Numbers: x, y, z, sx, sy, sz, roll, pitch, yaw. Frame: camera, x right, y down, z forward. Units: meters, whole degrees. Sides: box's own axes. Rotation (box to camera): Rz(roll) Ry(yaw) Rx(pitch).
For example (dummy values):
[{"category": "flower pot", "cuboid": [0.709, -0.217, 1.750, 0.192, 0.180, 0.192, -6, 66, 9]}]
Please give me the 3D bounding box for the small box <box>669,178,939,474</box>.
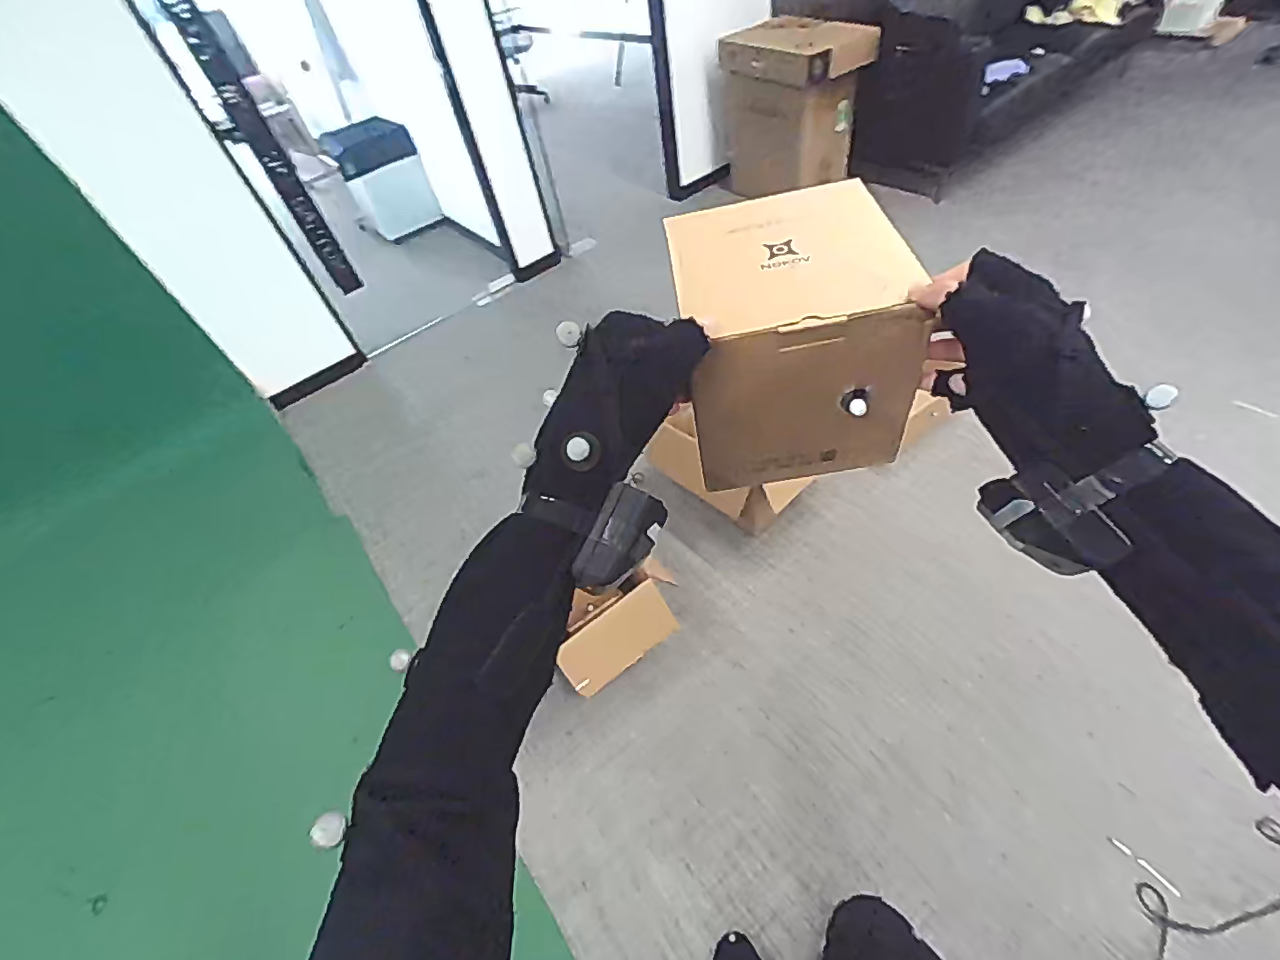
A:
[{"category": "small box", "cuboid": [0.123, -0.120, 0.465, 0.168, 0.176, 0.179, -9, 51, 6]}]
